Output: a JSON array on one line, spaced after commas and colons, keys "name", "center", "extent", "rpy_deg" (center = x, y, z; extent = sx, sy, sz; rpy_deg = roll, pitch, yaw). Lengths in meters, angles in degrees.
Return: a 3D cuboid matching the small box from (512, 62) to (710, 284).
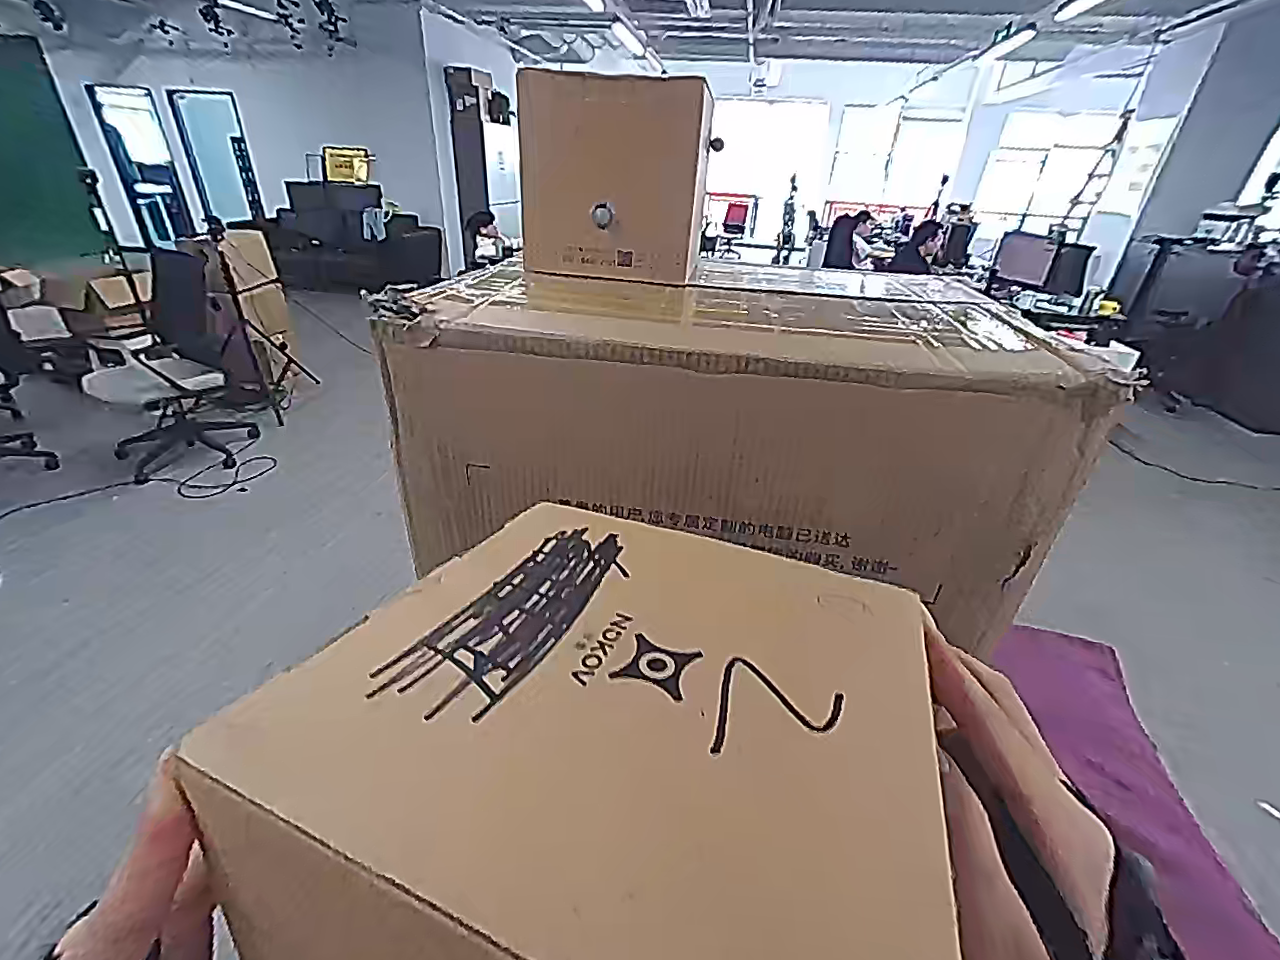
[{"name": "small box", "center": [-0.023, -0.311, 0.563], "extent": [0.168, 0.176, 0.179], "rpy_deg": [7, 30, 7]}]
